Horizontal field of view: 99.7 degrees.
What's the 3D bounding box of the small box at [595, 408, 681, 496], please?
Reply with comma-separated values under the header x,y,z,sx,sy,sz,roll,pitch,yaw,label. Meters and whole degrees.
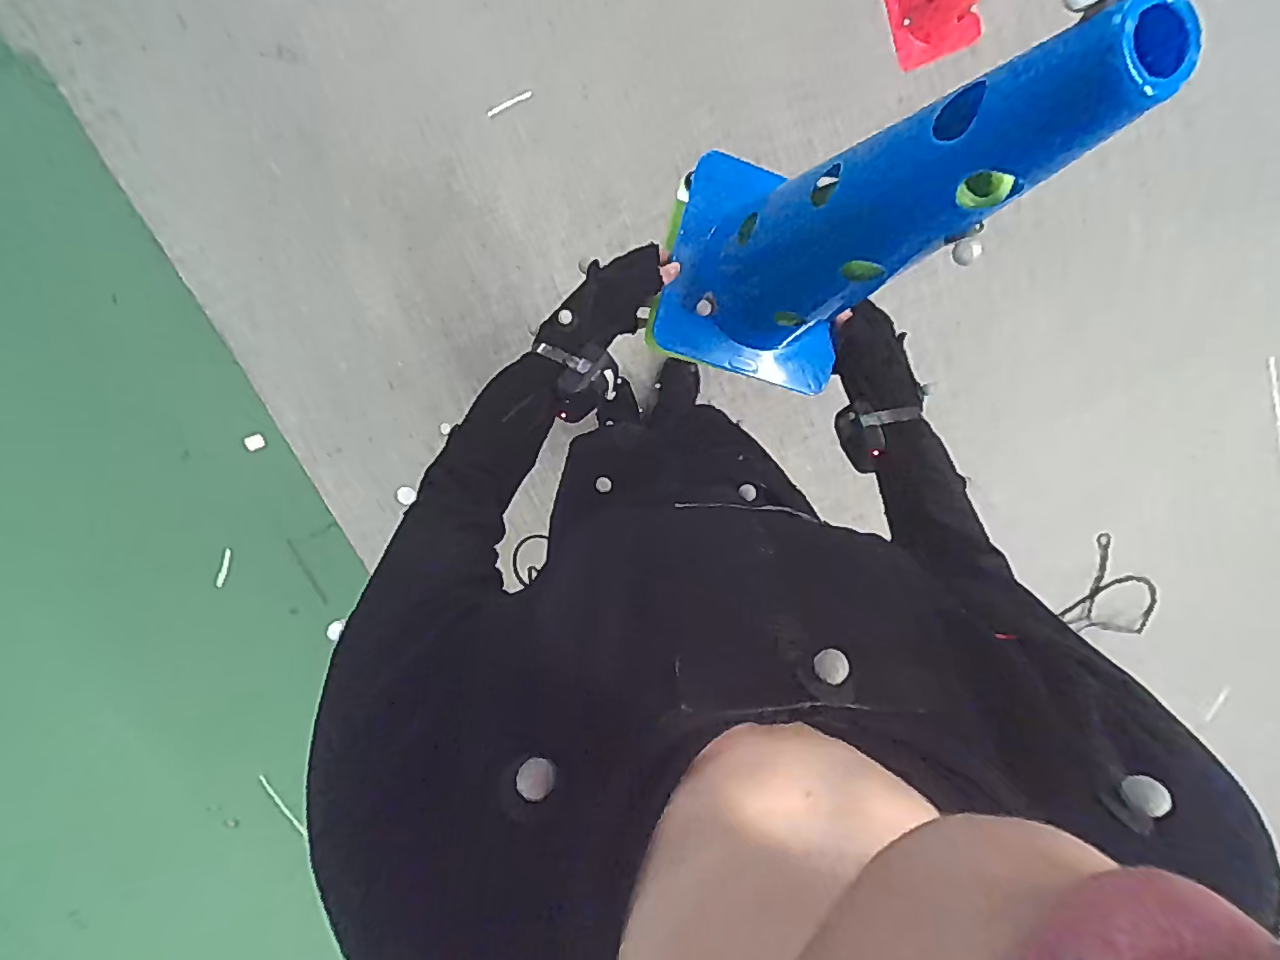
x,y,z,sx,sy,sz,roll,pitch,yaw,label
-0.013,-0.076,1.403,0.168,0.176,0.179,6,107,-20,small box
